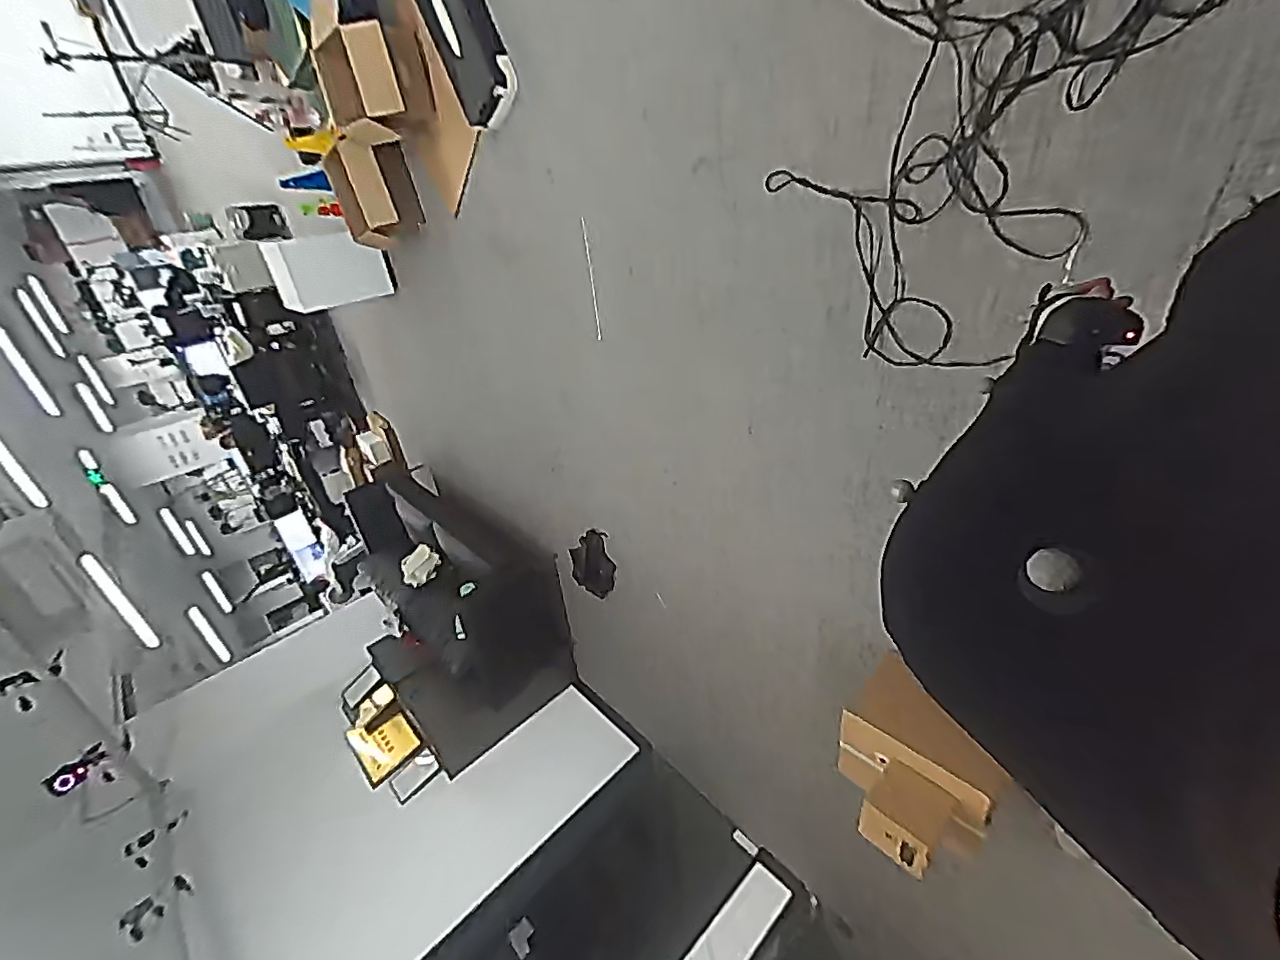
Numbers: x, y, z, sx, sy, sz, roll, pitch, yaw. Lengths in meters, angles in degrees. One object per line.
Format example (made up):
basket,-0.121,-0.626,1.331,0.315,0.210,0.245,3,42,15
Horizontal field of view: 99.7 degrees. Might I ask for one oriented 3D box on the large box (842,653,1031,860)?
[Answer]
large box,0.881,0.809,1.639,0.408,0.320,0.320,24,131,44
